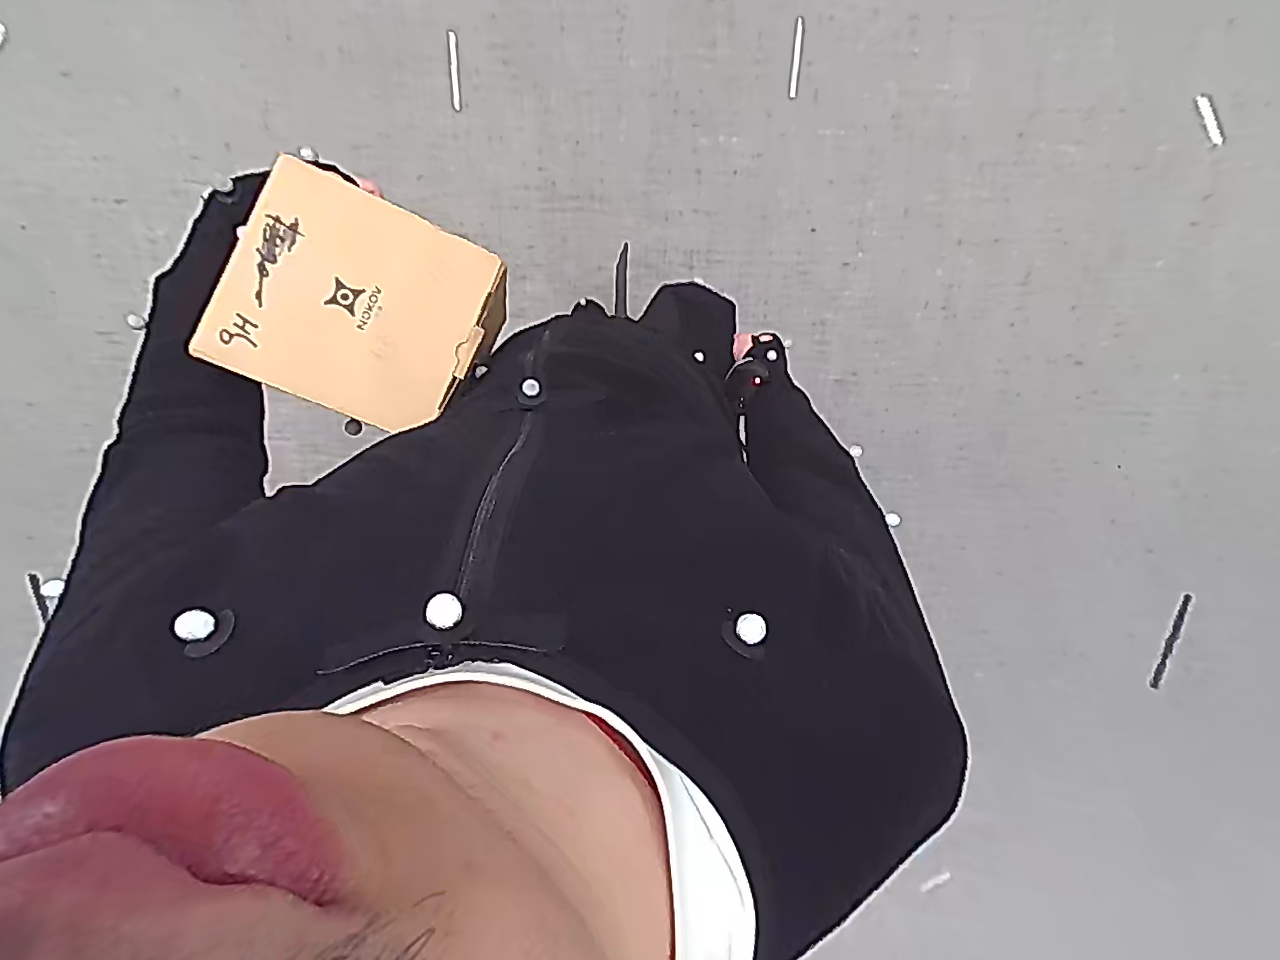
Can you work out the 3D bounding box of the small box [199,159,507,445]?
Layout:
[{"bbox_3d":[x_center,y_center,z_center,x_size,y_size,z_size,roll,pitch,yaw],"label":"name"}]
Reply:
[{"bbox_3d":[-0.236,-0.139,0.497,0.179,0.176,0.168,22,85,-14],"label":"small box"}]
